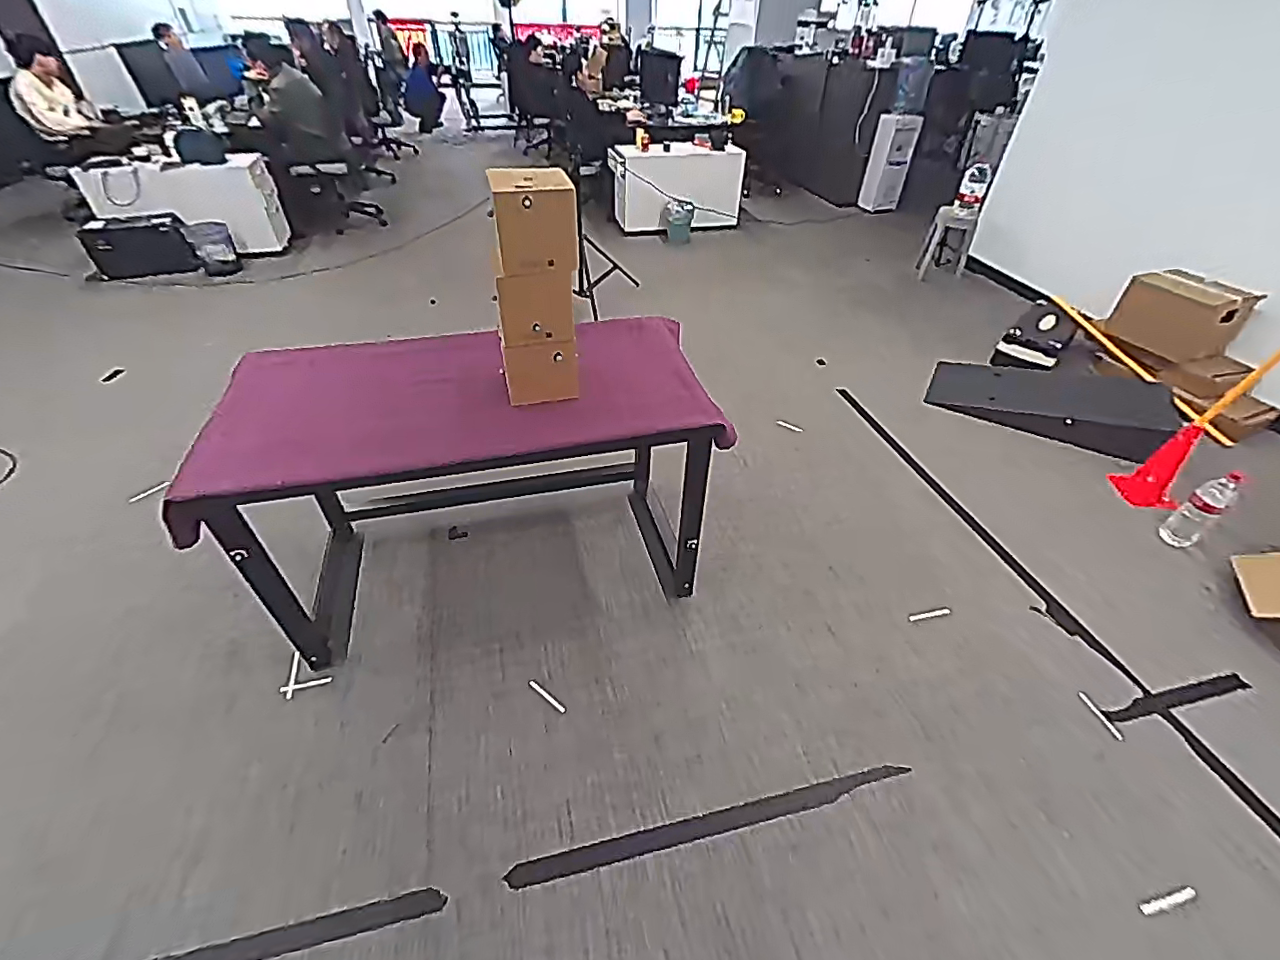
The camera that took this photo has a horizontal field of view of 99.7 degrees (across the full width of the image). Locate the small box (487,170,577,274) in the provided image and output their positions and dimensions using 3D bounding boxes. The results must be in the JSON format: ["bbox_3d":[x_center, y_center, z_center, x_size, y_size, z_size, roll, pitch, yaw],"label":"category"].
[{"bbox_3d":[-0.235,-0.562,1.176,0.168,0.176,0.179,-10,43,-13],"label":"small box"}]

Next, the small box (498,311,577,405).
[{"bbox_3d":[-0.260,-0.313,1.389,0.179,0.176,0.168,-10,42,-12],"label":"small box"}]
